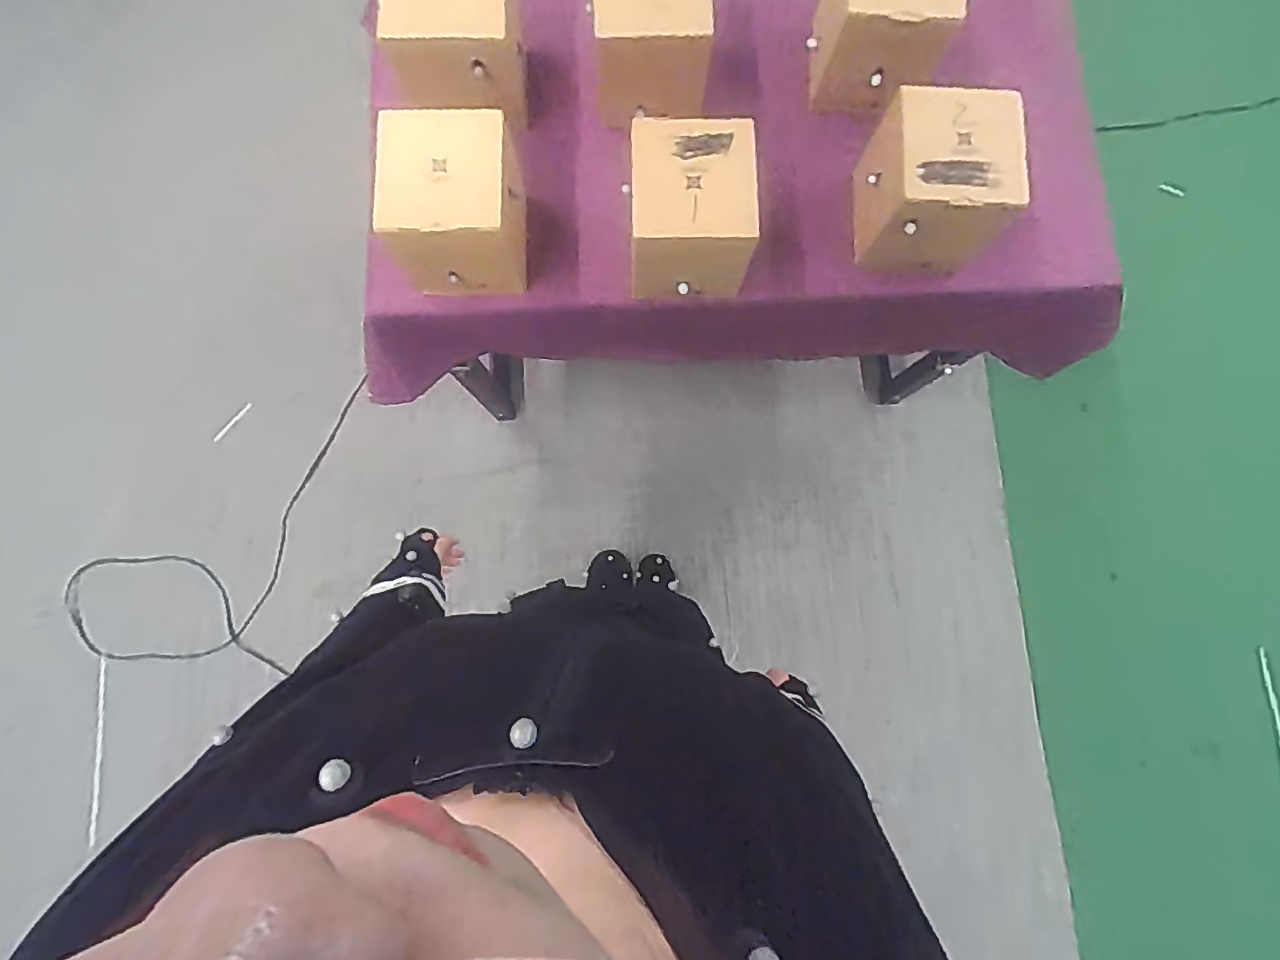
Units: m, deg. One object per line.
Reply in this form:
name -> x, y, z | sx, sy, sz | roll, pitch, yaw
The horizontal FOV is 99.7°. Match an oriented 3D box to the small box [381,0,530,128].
small box -> -0.267, -0.669, 0.823 | 0.179, 0.176, 0.168 | -1, 82, -1

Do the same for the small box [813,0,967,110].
small box -> 0.376, -0.713, 0.834 | 0.168, 0.176, 0.179 | 5, 83, 0

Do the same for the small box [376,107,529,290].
small box -> -0.260, -0.399, 0.786 | 0.168, 0.176, 0.179 | -1, 82, -1

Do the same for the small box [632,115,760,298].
small box -> 0.073, -0.387, 0.786 | 0.168, 0.176, 0.179 | 0, 82, 0
